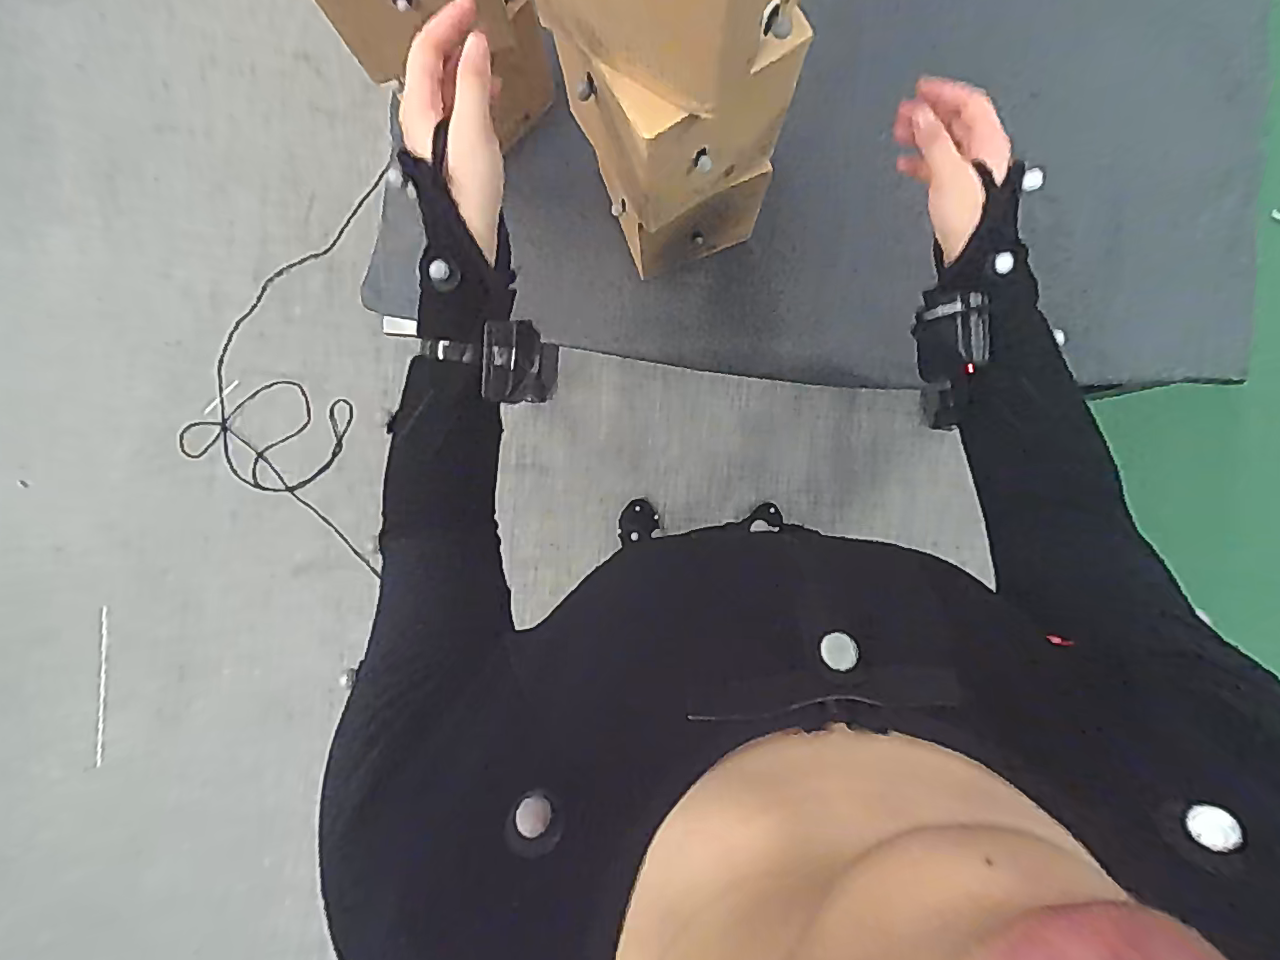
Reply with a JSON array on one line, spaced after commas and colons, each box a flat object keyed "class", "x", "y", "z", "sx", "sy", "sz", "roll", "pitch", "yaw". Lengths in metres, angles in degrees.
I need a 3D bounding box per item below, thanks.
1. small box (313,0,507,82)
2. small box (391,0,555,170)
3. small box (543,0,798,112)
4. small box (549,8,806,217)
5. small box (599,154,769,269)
[{"class": "small box", "x": -0.247, "y": -0.556, "z": 0.545, "sx": 0.179, "sy": 0.176, "sz": 0.168, "roll": -14, "pitch": 89, "yaw": 3}, {"class": "small box", "x": -0.238, "y": -0.558, "z": 0.710, "sx": 0.179, "sy": 0.176, "sz": 0.168, "roll": 44, "pitch": 92, "yaw": 2}, {"class": "small box", "x": 0.027, "y": -0.404, "z": 0.367, "sx": 0.179, "sy": 0.176, "sz": 0.168, "roll": 33, "pitch": 92, "yaw": 3}, {"class": "small box", "x": 0.031, "y": -0.392, "z": 0.529, "sx": 0.168, "sy": 0.176, "sz": 0.179, "roll": -32, "pitch": 87, "yaw": 2}, {"class": "small box", "x": 0.047, "y": -0.395, "z": 0.691, "sx": 0.168, "sy": 0.176, "sz": 0.179, "roll": -21, "pitch": 88, "yaw": 2}]
